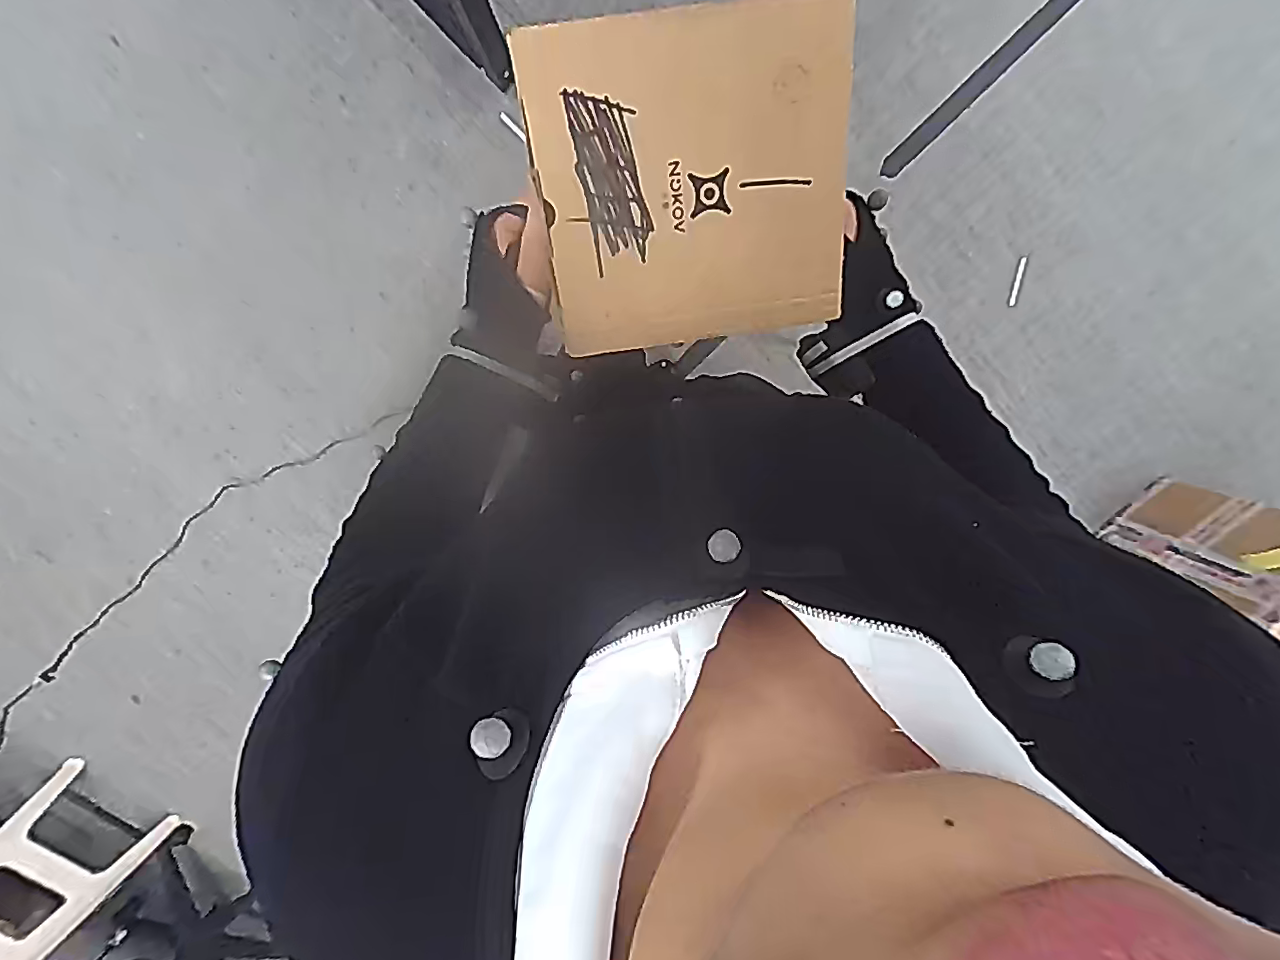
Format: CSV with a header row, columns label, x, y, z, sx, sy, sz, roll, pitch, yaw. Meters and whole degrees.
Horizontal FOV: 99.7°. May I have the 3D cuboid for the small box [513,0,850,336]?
label,x,y,z,sx,sy,sz,roll,pitch,yaw
small box,0.025,-0.210,0.380,0.179,0.176,0.168,-8,119,0
